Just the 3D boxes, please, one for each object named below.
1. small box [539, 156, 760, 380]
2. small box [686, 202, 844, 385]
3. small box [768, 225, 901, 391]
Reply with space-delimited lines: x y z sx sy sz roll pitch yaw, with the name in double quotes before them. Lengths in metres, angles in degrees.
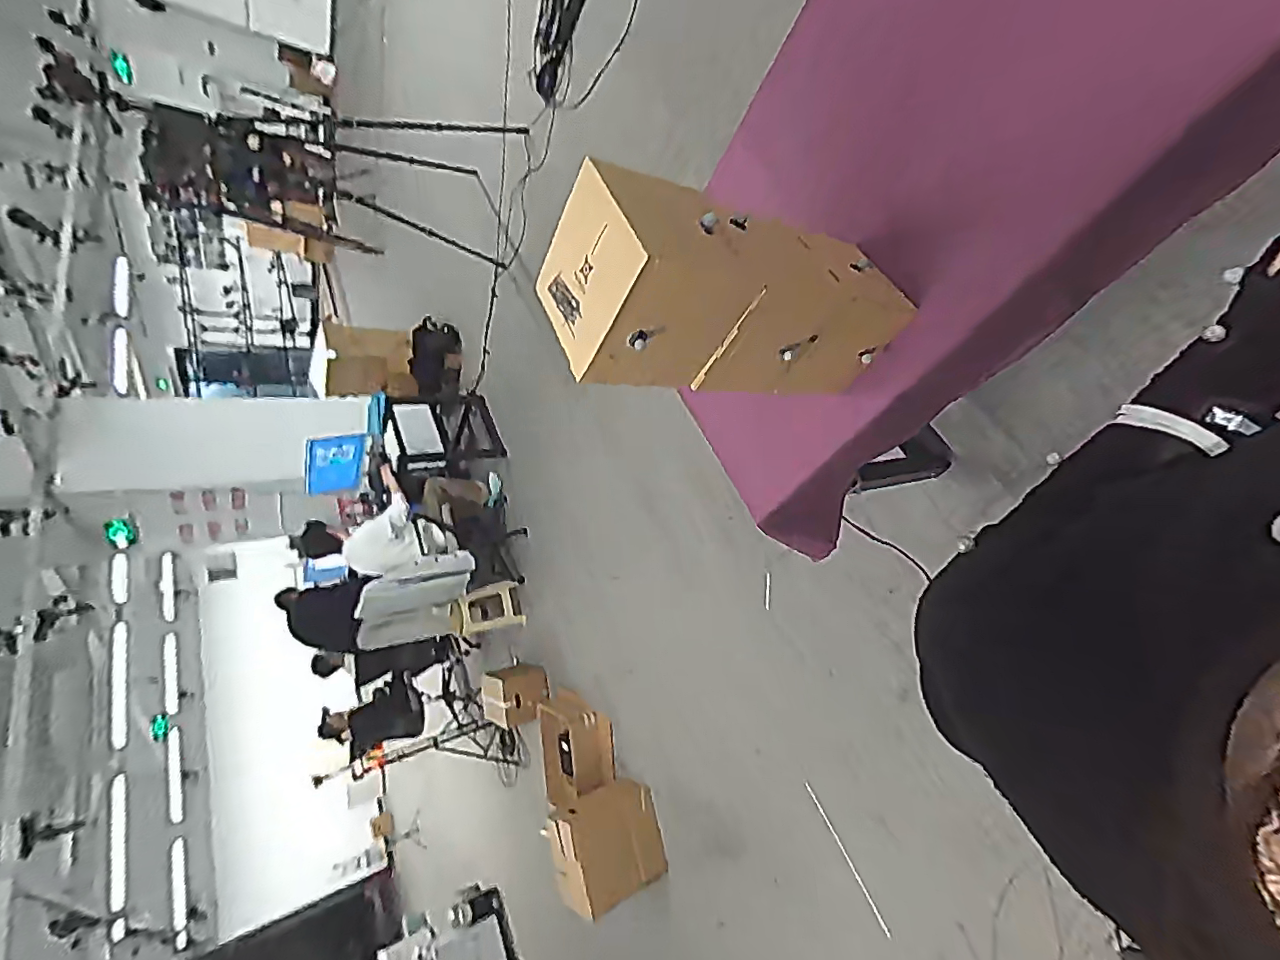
"small box" 0.006 -0.233 0.639 0.179 0.176 0.168 -51 56 43
"small box" 0.135 -0.245 0.740 0.168 0.176 0.179 -54 54 43
"small box" 0.269 -0.256 0.837 0.179 0.176 0.168 -55 53 41
